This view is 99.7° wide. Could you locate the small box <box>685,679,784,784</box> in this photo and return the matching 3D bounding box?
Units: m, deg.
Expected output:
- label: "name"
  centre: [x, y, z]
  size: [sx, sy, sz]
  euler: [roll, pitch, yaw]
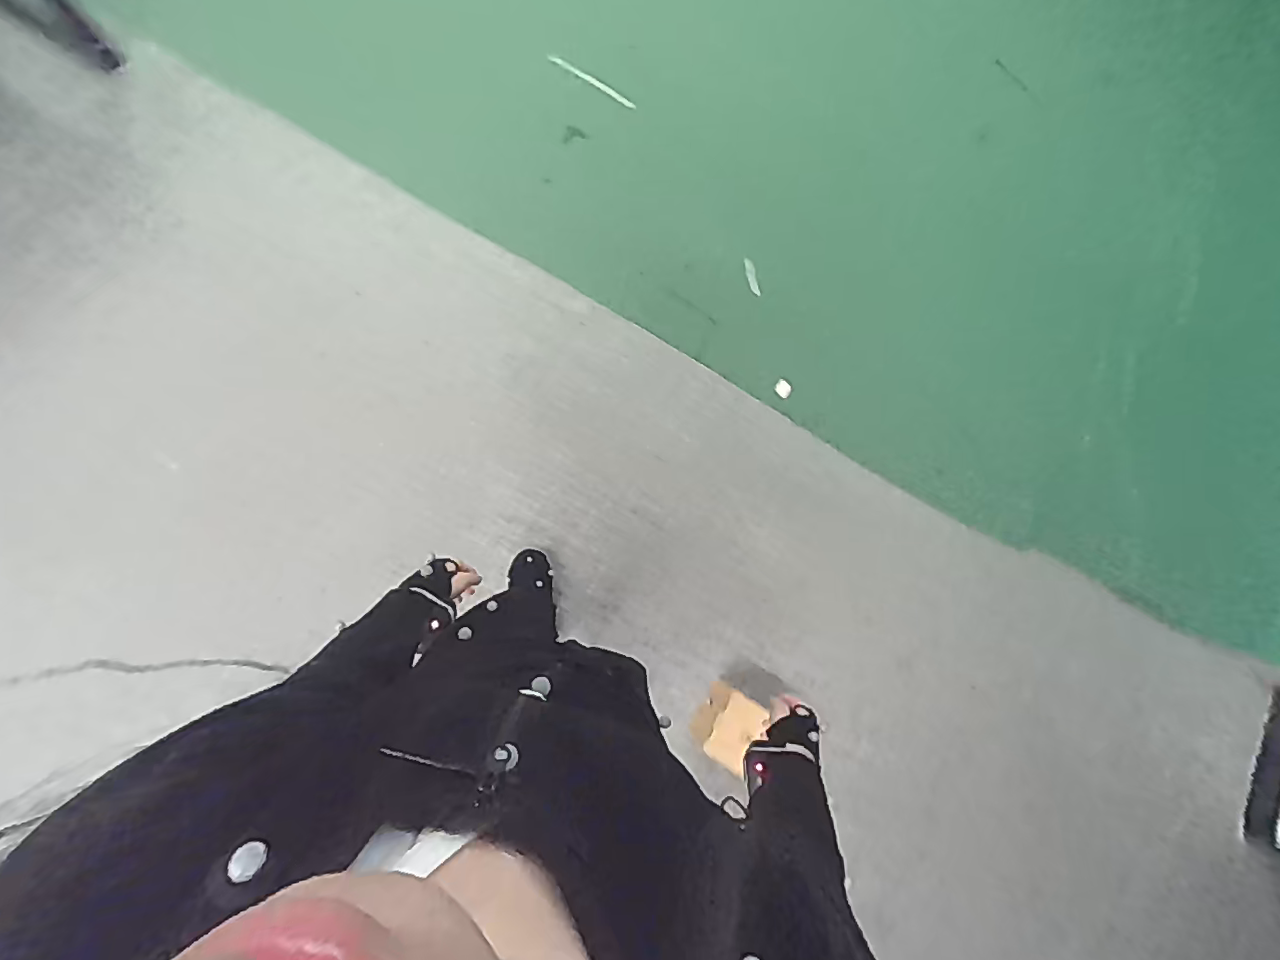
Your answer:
- label: "small box"
  centre: [0.243, 0.653, 1.431]
  size: [0.179, 0.176, 0.168]
  euler: [34, 79, -1]
